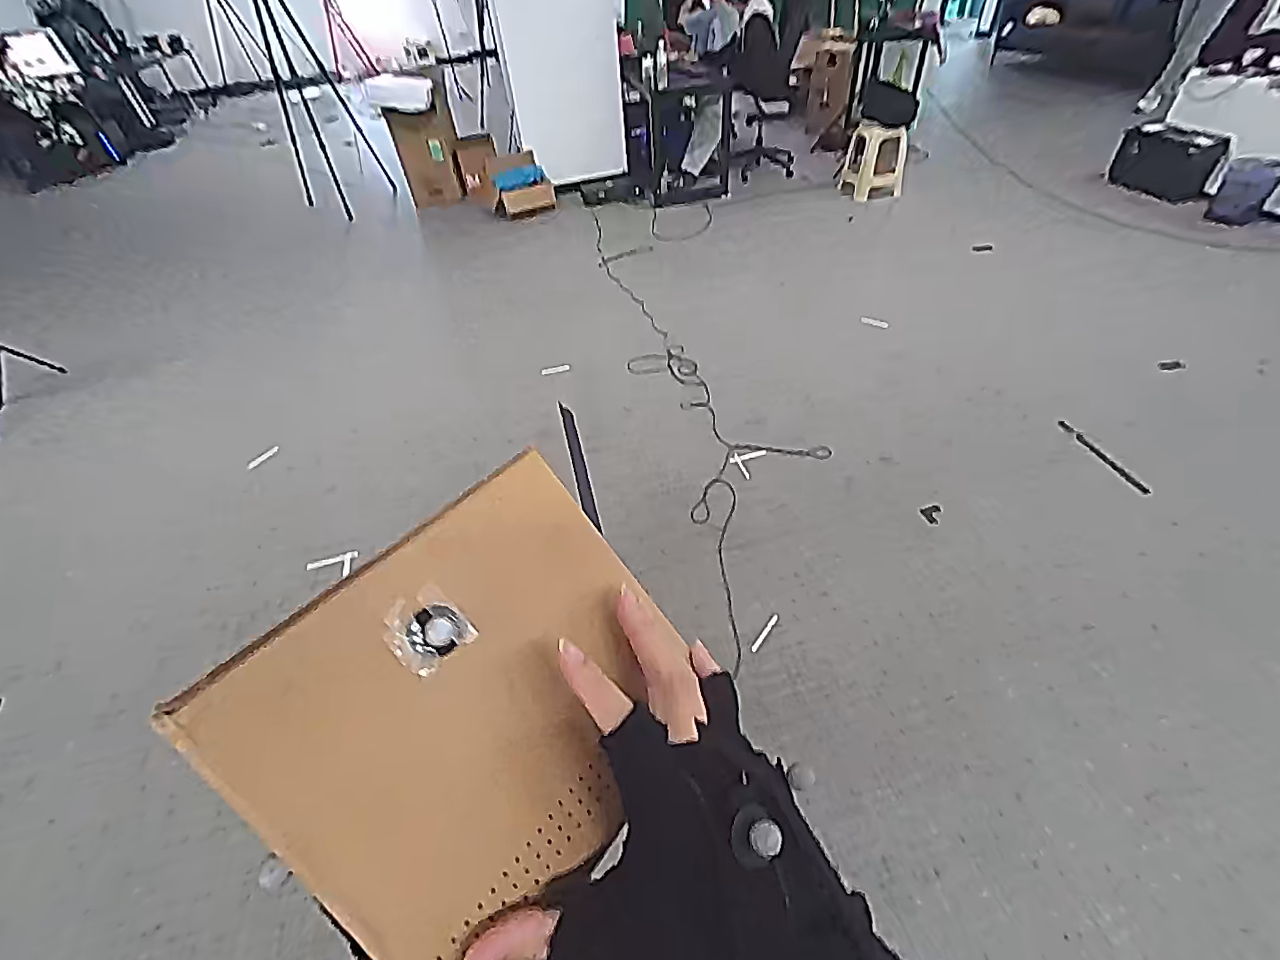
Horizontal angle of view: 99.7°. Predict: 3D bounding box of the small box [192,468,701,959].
[{"bbox_3d":[-0.097,0.126,0.315,0.179,0.168,0.176,-41,97,-34],"label":"small box"}]
